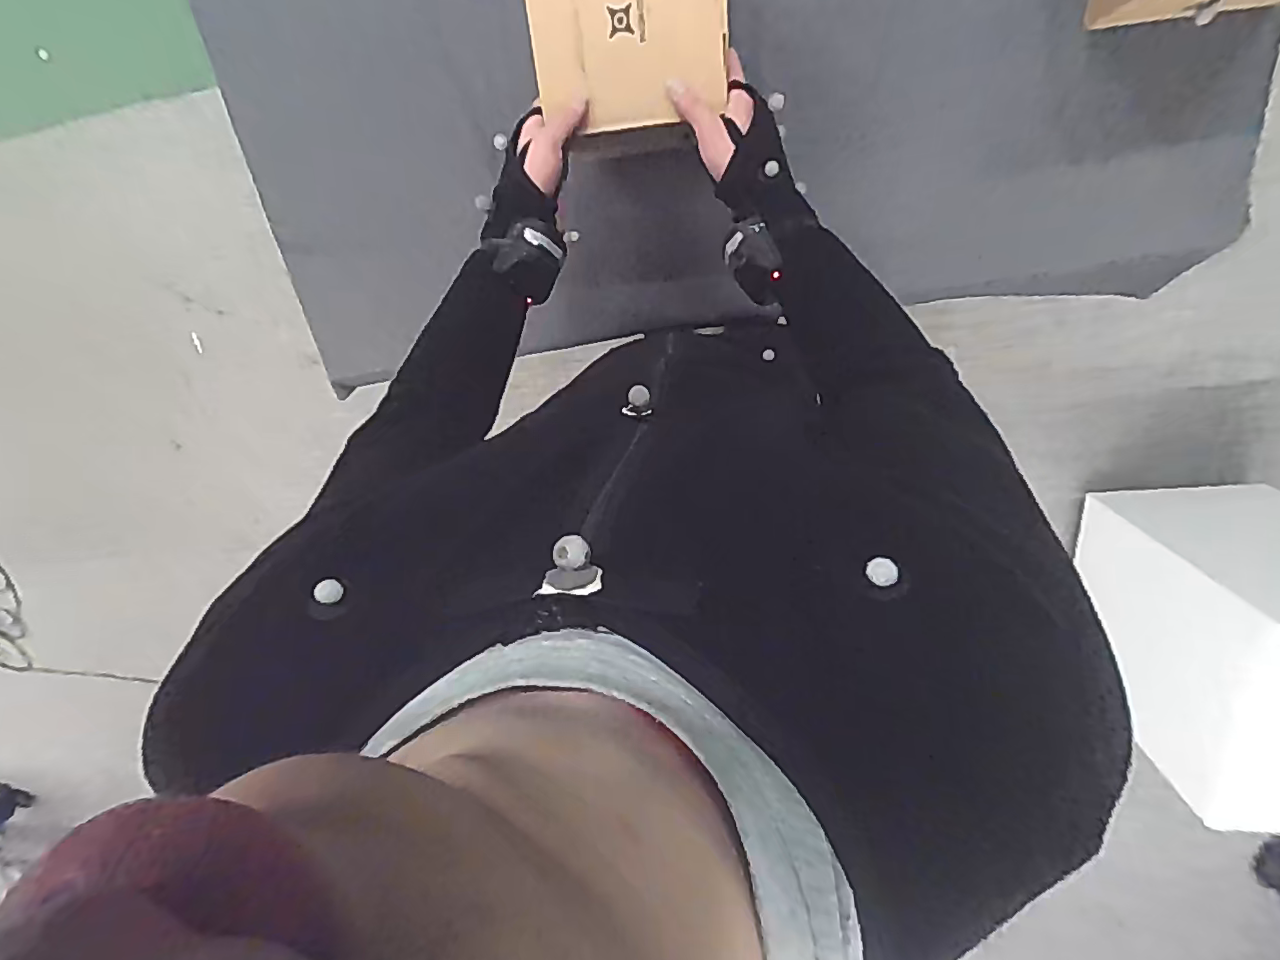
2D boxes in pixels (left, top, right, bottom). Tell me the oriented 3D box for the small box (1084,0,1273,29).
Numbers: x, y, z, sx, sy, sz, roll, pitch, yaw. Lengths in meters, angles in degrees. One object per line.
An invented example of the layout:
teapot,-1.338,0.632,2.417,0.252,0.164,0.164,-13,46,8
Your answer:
small box,0.538,-0.519,0.457,0.179,0.176,0.168,-1,114,8

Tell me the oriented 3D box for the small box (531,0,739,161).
small box,0.004,-0.429,0.538,0.179,0.176,0.168,-3,114,10
